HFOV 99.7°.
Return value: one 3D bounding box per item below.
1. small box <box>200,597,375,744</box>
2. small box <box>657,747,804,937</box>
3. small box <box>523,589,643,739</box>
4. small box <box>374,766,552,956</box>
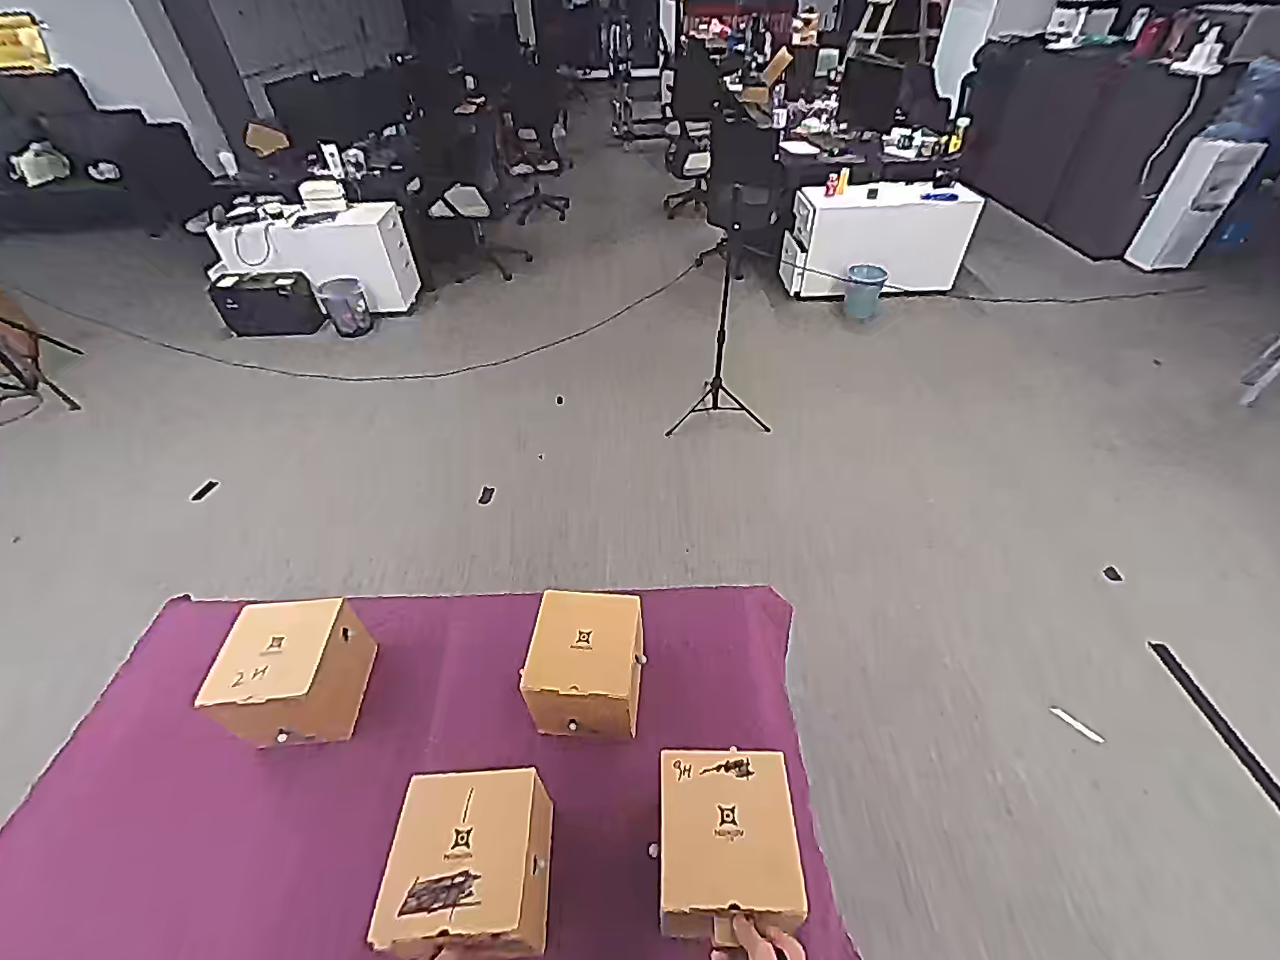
[{"bbox_3d":[-0.572,0.320,0.912,0.168,0.176,0.179,-4,44,-2],"label":"small box"},{"bbox_3d":[0.109,0.477,0.713,0.168,0.176,0.179,0,42,3],"label":"small box"},{"bbox_3d":[-0.084,0.307,0.909,0.168,0.176,0.179,2,45,5],"label":"small box"},{"bbox_3d":[-0.211,0.498,0.705,0.168,0.176,0.179,-3,42,-1],"label":"small box"}]
